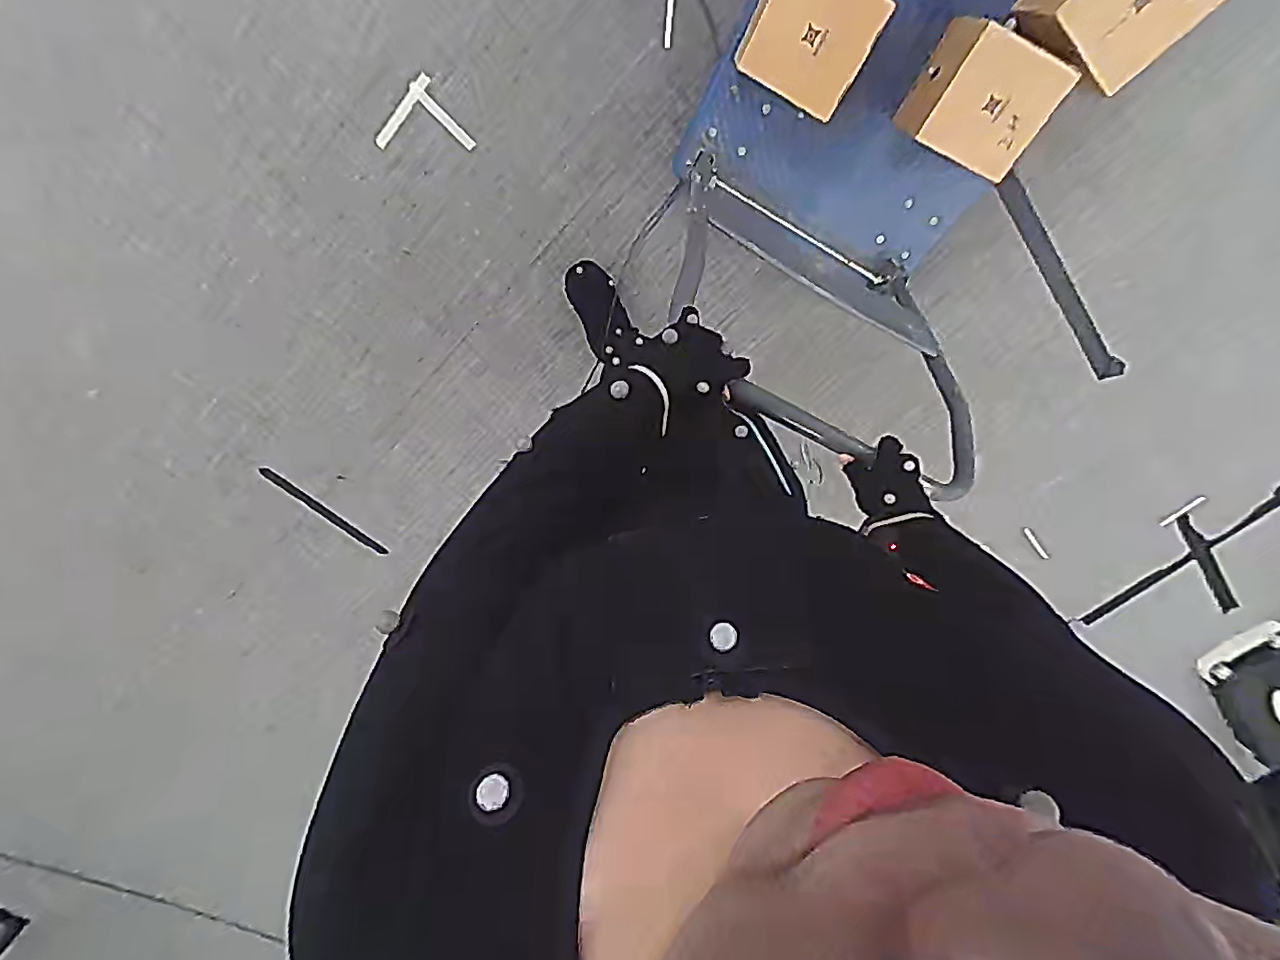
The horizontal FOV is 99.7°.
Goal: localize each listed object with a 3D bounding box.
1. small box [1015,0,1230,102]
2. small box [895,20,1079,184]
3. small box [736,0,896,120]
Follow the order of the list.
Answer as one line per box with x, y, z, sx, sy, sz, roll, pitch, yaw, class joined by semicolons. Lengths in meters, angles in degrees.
0.723;-0.728;0.820;0.168;0.176;0.179;34;128;-21;small box
0.570;-0.640;0.918;0.179;0.176;0.168;21;131;-11;small box
0.271;-0.728;0.882;0.179;0.176;0.168;22;131;-14;small box
